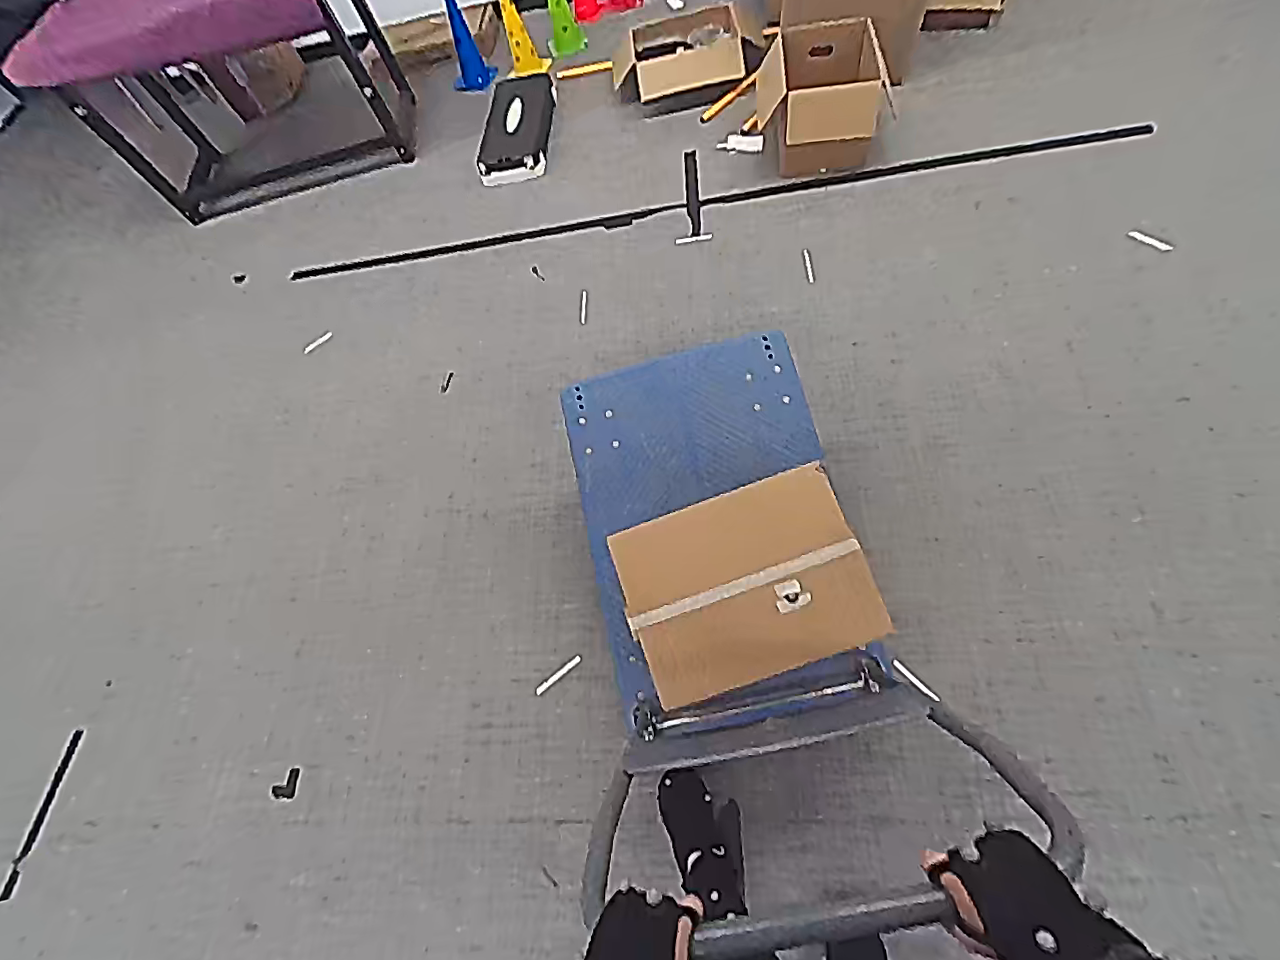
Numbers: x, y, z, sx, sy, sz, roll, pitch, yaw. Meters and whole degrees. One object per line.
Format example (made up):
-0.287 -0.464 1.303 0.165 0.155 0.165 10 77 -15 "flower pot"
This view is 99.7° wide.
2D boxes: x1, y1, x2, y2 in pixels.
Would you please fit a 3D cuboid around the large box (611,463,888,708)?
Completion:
0.197 0.209 1.086 0.408 0.320 0.320 -21 78 2 "large box"
